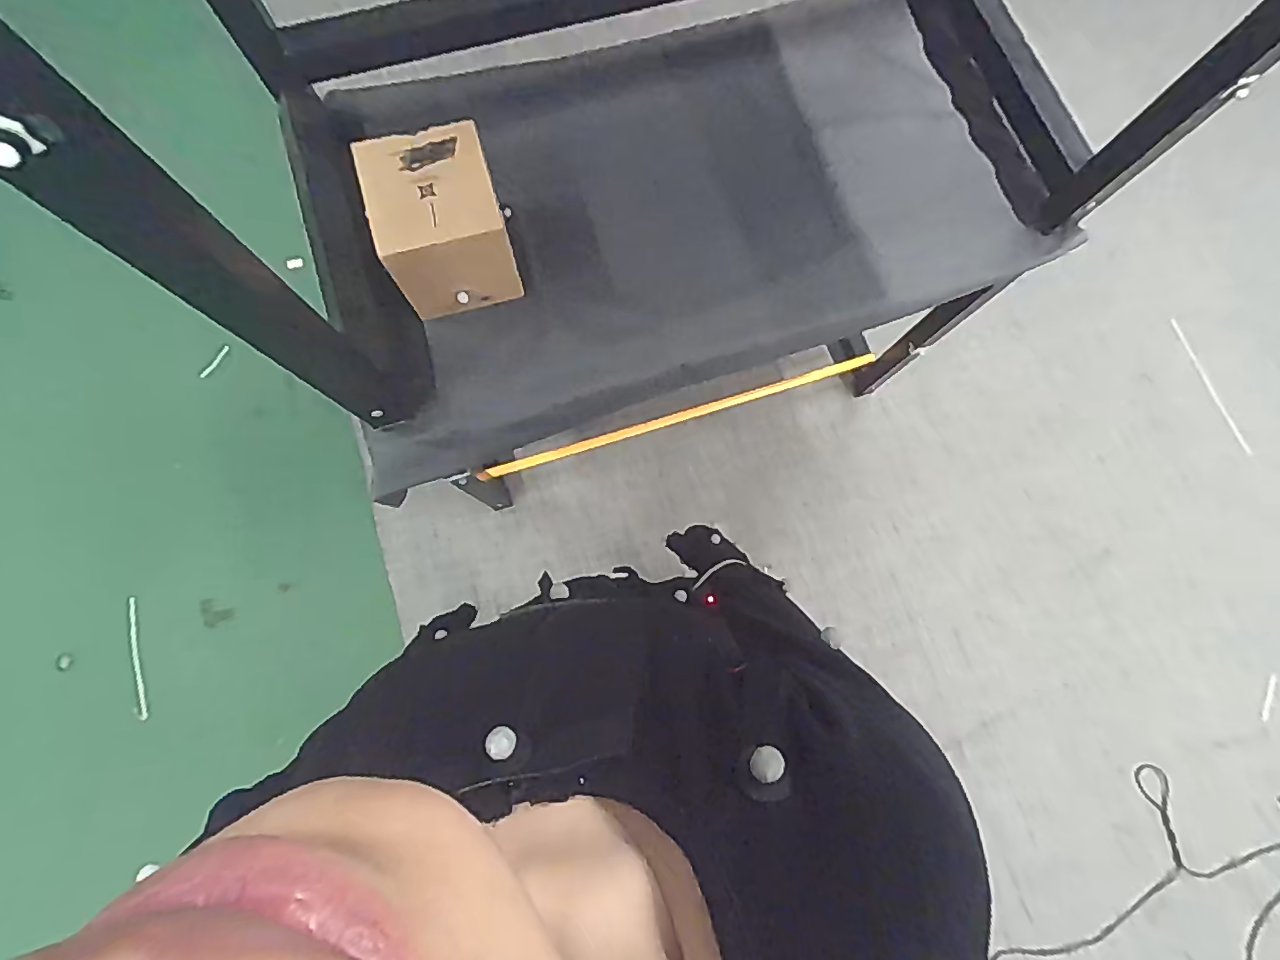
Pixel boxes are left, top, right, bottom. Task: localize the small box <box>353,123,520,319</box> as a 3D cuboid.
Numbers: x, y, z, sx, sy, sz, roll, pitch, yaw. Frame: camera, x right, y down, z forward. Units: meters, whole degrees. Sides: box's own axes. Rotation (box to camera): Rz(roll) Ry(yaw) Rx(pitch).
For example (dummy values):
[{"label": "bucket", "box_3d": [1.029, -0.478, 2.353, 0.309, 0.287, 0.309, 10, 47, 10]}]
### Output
[{"label": "small box", "box_3d": [-0.284, -0.367, 0.788, 0.168, 0.176, 0.179, -17, 80, -6]}]
